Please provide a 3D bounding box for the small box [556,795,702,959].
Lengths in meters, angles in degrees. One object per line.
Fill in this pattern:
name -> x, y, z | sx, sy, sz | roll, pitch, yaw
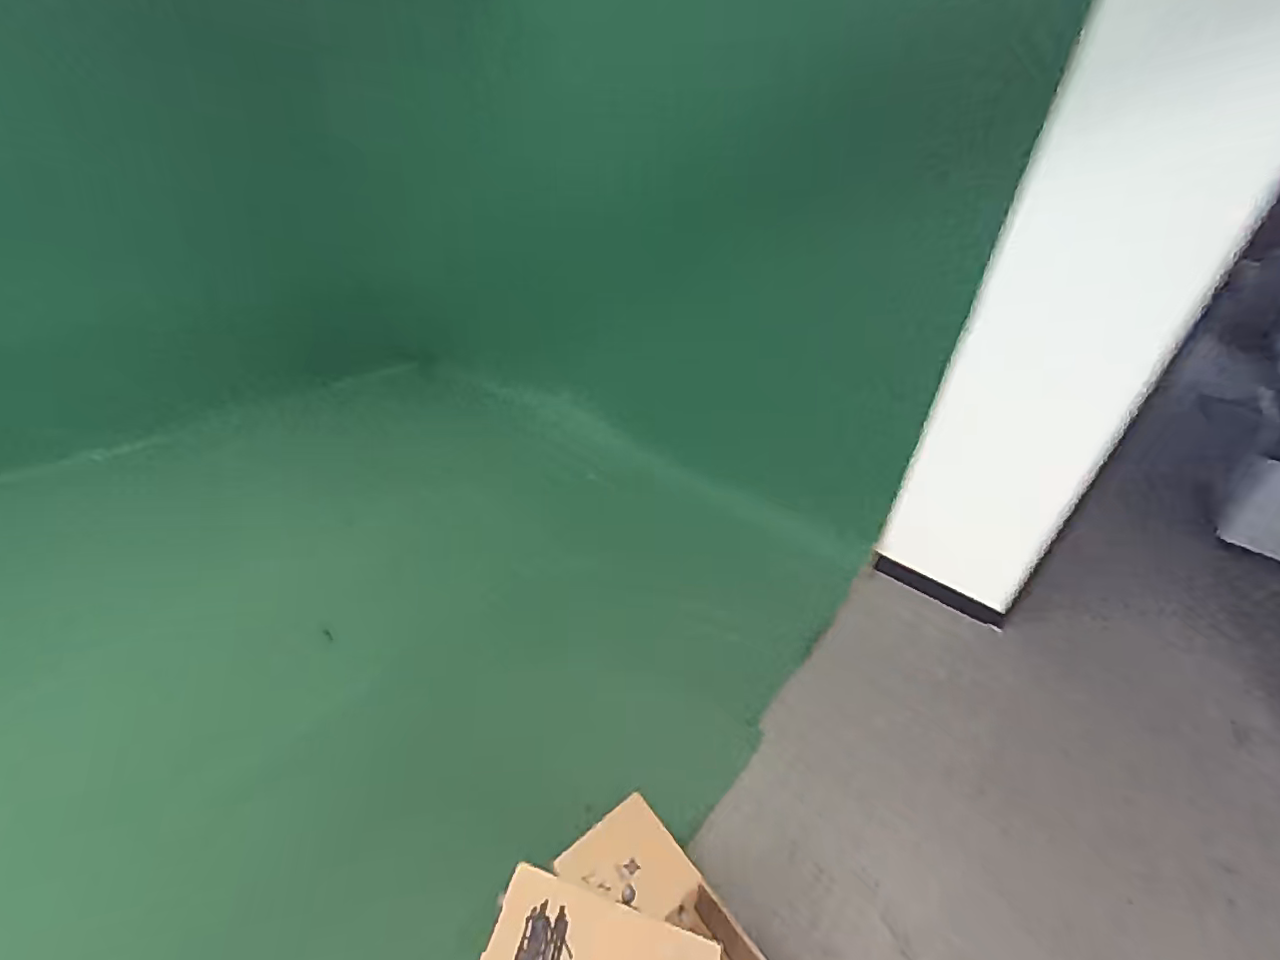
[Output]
small box -> -0.023, 0.675, 0.890 | 0.179, 0.176, 0.168 | -24, 45, -31

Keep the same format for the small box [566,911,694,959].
small box -> -0.027, 0.809, 0.987 | 0.179, 0.176, 0.168 | -23, 45, -30
